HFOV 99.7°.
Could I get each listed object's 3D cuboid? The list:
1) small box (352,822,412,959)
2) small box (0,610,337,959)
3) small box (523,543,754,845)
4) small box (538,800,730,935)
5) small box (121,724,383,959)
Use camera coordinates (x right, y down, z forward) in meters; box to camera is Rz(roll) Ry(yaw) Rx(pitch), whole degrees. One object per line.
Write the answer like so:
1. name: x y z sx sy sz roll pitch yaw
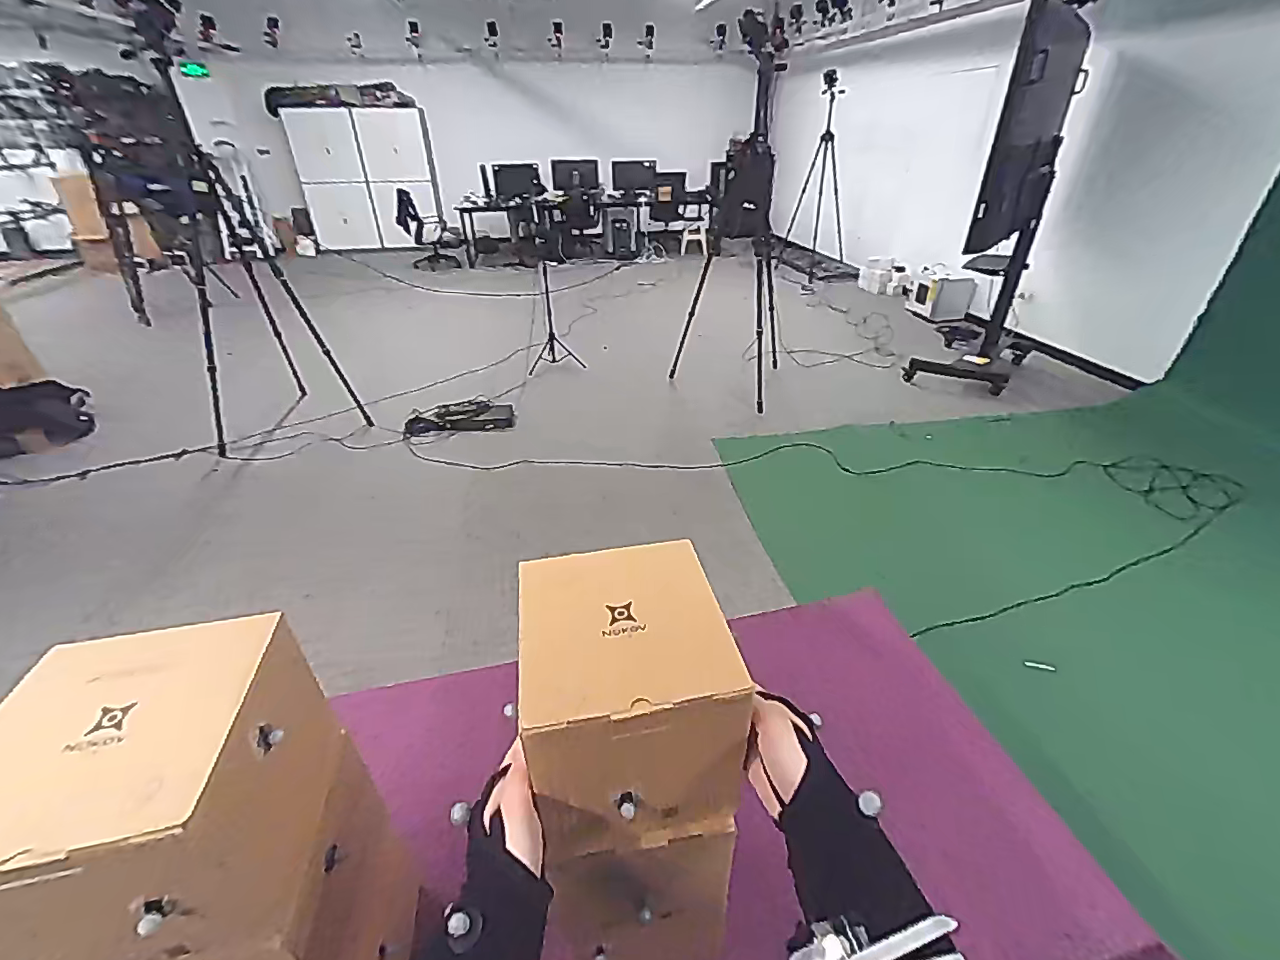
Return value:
1. small box: -0.359 0.506 0.586 0.168 0.176 0.179 -5 34 -9
2. small box: -0.356 0.230 0.410 0.168 0.176 0.179 -6 33 -10
3. small box: -0.014 0.182 0.483 0.168 0.176 0.179 -6 34 -9
4. small box: -0.014 0.325 0.563 0.168 0.176 0.179 -5 34 -7
5. small box: -0.358 0.364 0.502 0.168 0.176 0.179 -5 33 -8
